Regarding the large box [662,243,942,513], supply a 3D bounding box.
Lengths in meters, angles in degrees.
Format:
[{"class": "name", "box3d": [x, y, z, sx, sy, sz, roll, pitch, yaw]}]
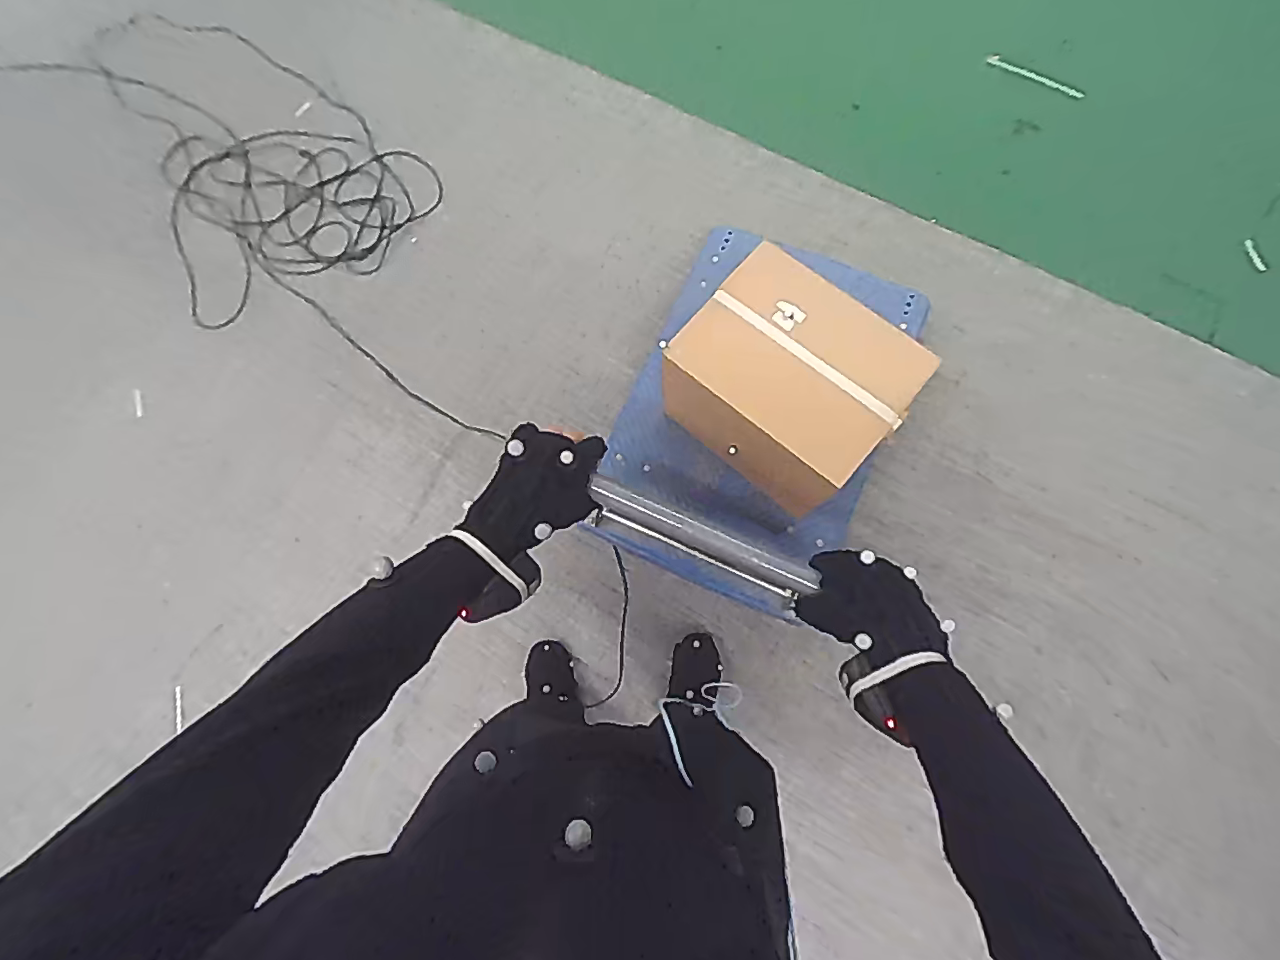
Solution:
[{"class": "large box", "box3d": [0.301, -0.187, 1.119, 0.408, 0.320, 0.320, 40, 82, 12]}]
